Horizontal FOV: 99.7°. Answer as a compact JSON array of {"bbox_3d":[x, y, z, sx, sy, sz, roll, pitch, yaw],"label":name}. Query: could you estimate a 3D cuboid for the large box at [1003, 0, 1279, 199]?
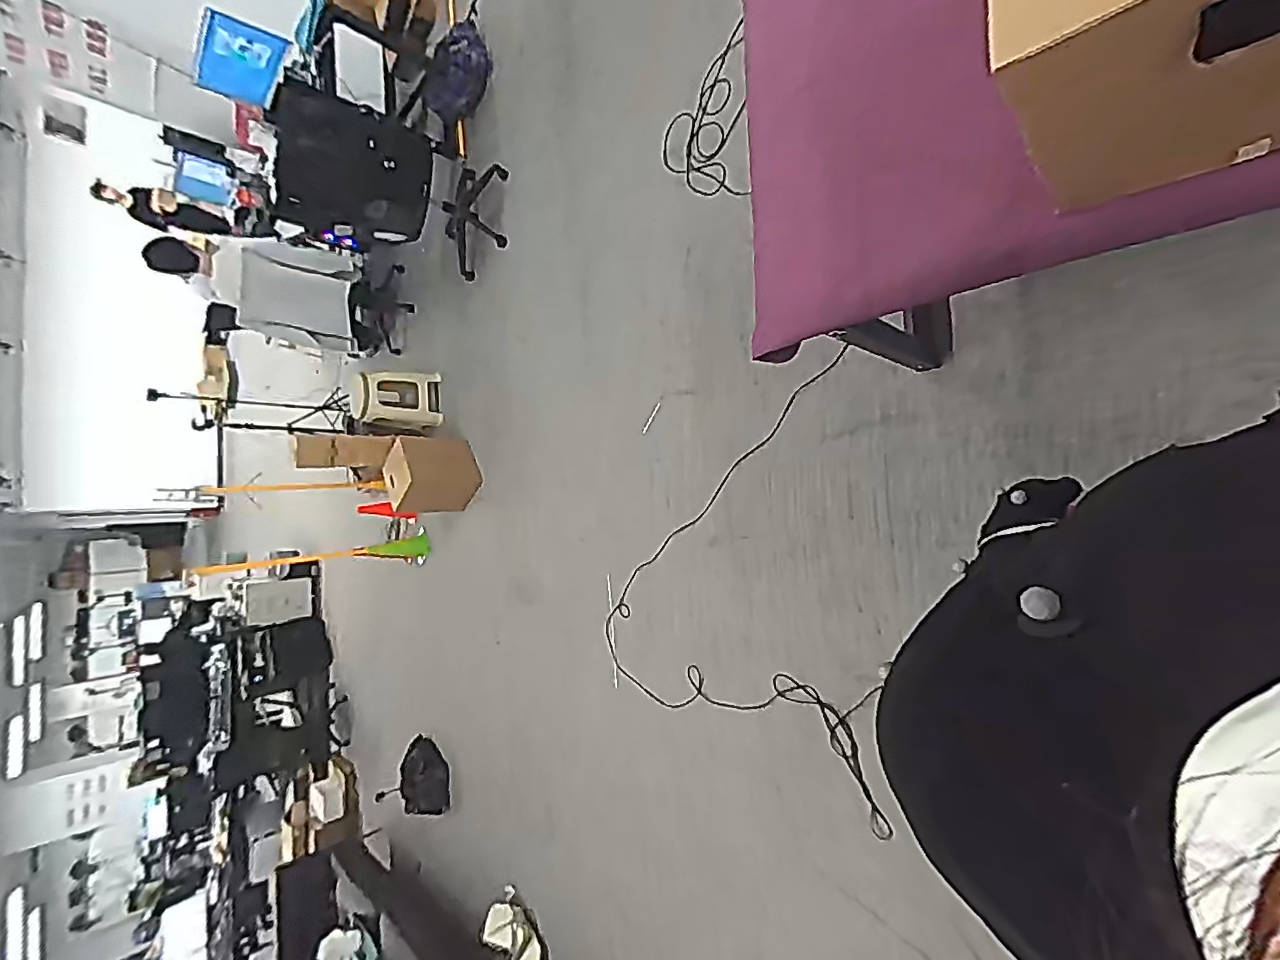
[{"bbox_3d":[0.499,-0.530,0.435,0.320,0.320,0.408,-2,89,45],"label":"large box"}]
